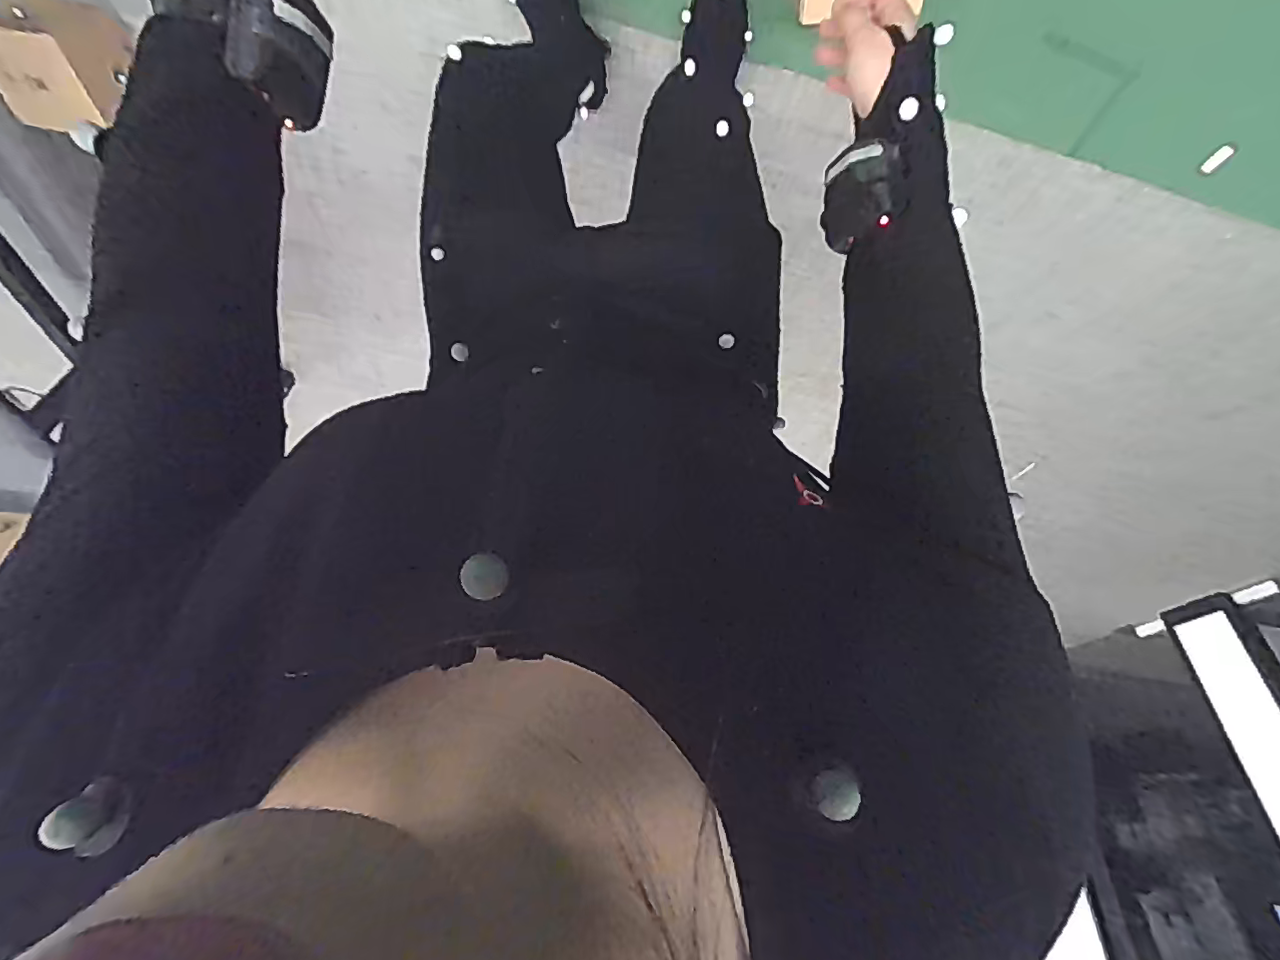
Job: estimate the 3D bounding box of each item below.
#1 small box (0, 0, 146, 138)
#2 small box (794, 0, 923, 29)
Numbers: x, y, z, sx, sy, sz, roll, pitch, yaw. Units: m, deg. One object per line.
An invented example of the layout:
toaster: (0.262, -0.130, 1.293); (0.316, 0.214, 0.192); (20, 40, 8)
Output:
small box: (-1.087, -0.778, 1.011); (0.179, 0.176, 0.168); (8, 144, -4)
small box: (0.328, -0.795, 0.796); (0.179, 0.176, 0.168); (1, 145, 5)
